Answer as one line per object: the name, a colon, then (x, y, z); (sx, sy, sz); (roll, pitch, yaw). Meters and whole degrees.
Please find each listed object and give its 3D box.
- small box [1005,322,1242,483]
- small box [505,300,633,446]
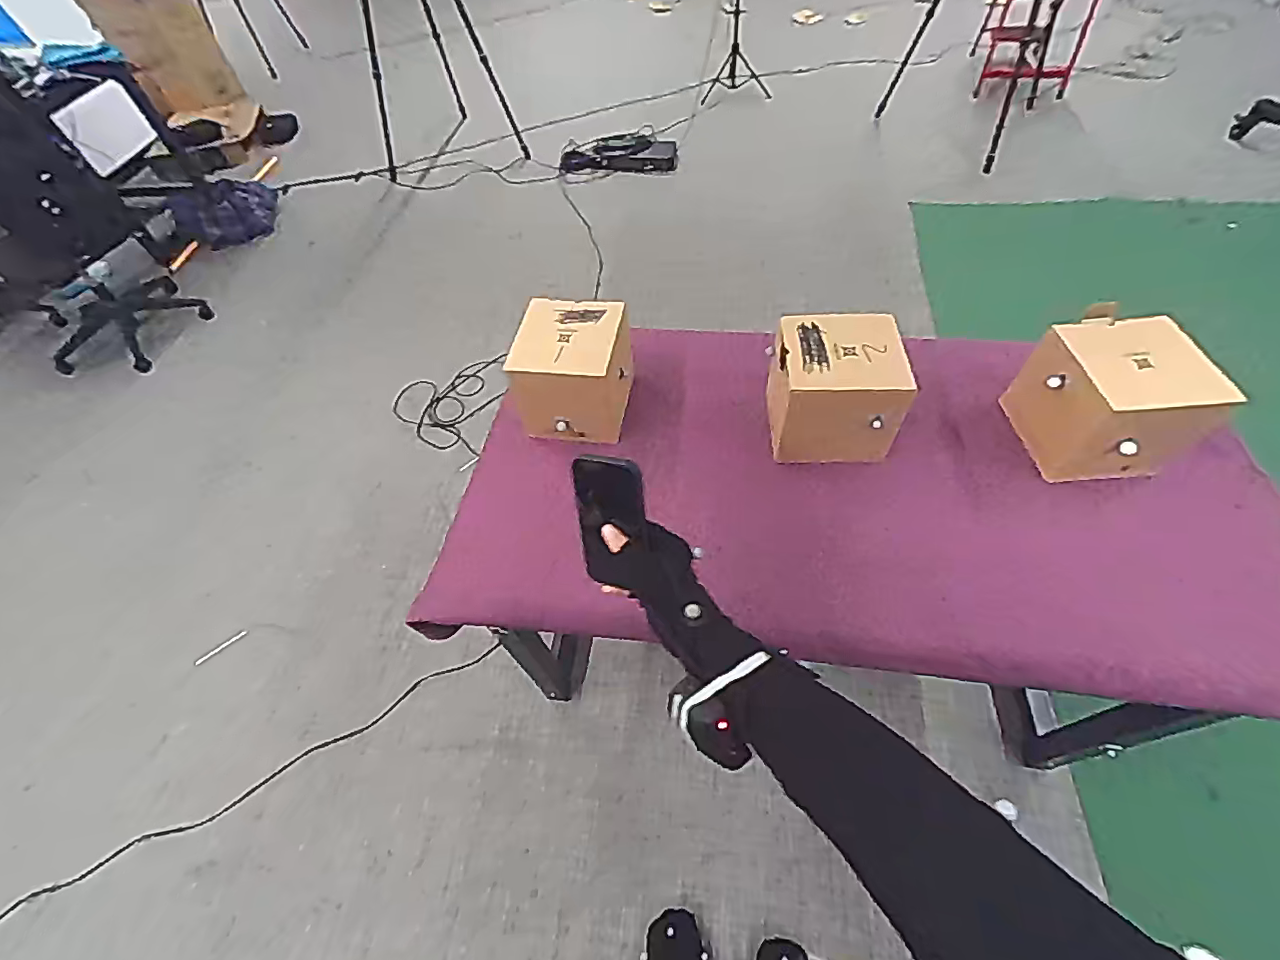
small box: (0.692, -0.107, 0.804); (0.168, 0.176, 0.179); (-4, 53, 3)
small box: (-0.109, -0.182, 0.928); (0.168, 0.176, 0.179); (6, 57, 9)
